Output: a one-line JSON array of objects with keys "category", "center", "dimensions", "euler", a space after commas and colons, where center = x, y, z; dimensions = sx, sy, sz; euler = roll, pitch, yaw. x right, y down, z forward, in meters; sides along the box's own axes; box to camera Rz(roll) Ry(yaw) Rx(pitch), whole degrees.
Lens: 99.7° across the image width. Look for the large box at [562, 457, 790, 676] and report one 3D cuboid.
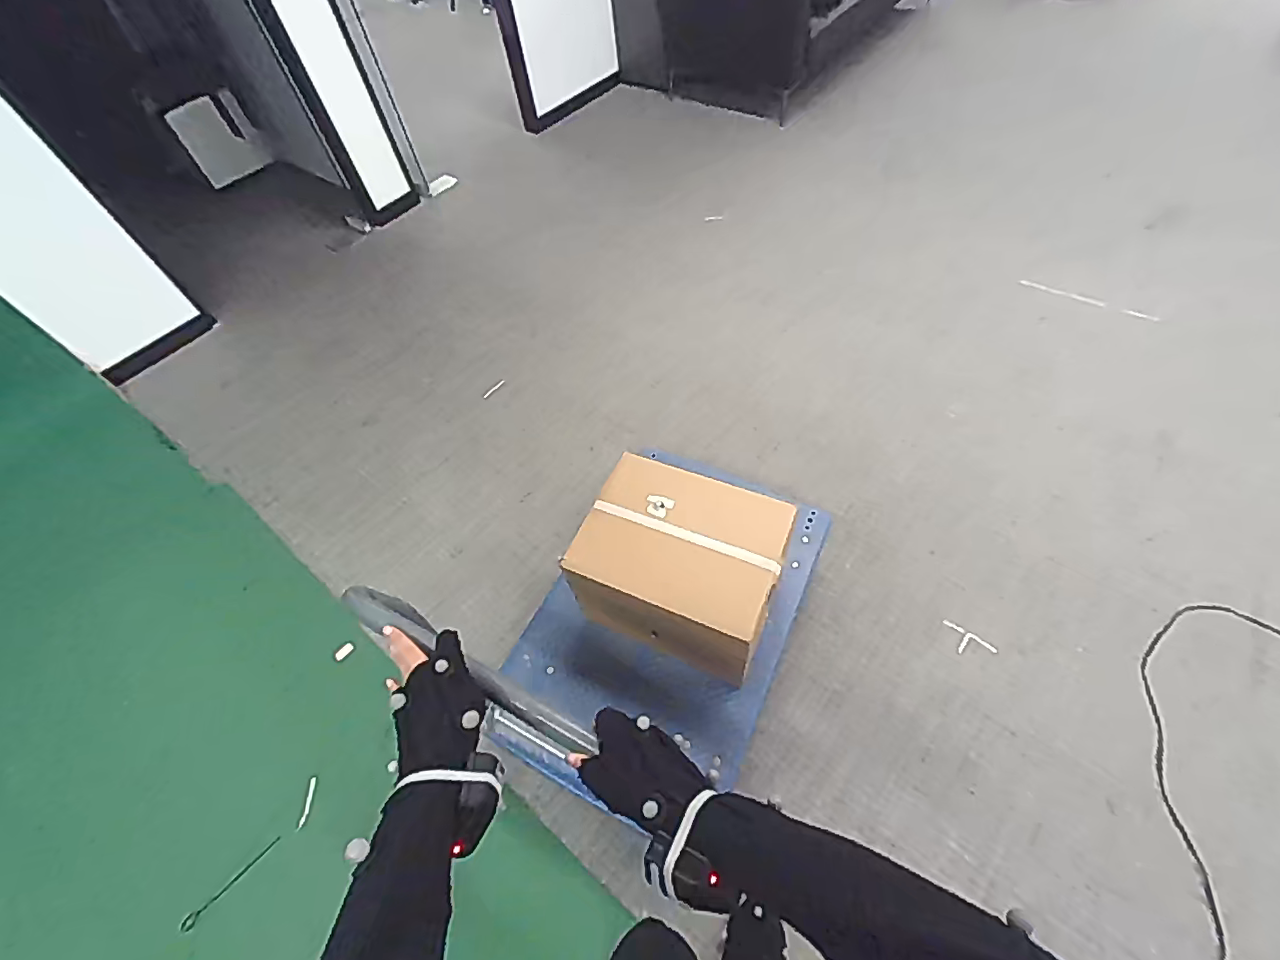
[{"category": "large box", "center": [0.096, 0.199, 1.240], "dimensions": [0.408, 0.320, 0.320], "euler": [17, 59, 19]}]
